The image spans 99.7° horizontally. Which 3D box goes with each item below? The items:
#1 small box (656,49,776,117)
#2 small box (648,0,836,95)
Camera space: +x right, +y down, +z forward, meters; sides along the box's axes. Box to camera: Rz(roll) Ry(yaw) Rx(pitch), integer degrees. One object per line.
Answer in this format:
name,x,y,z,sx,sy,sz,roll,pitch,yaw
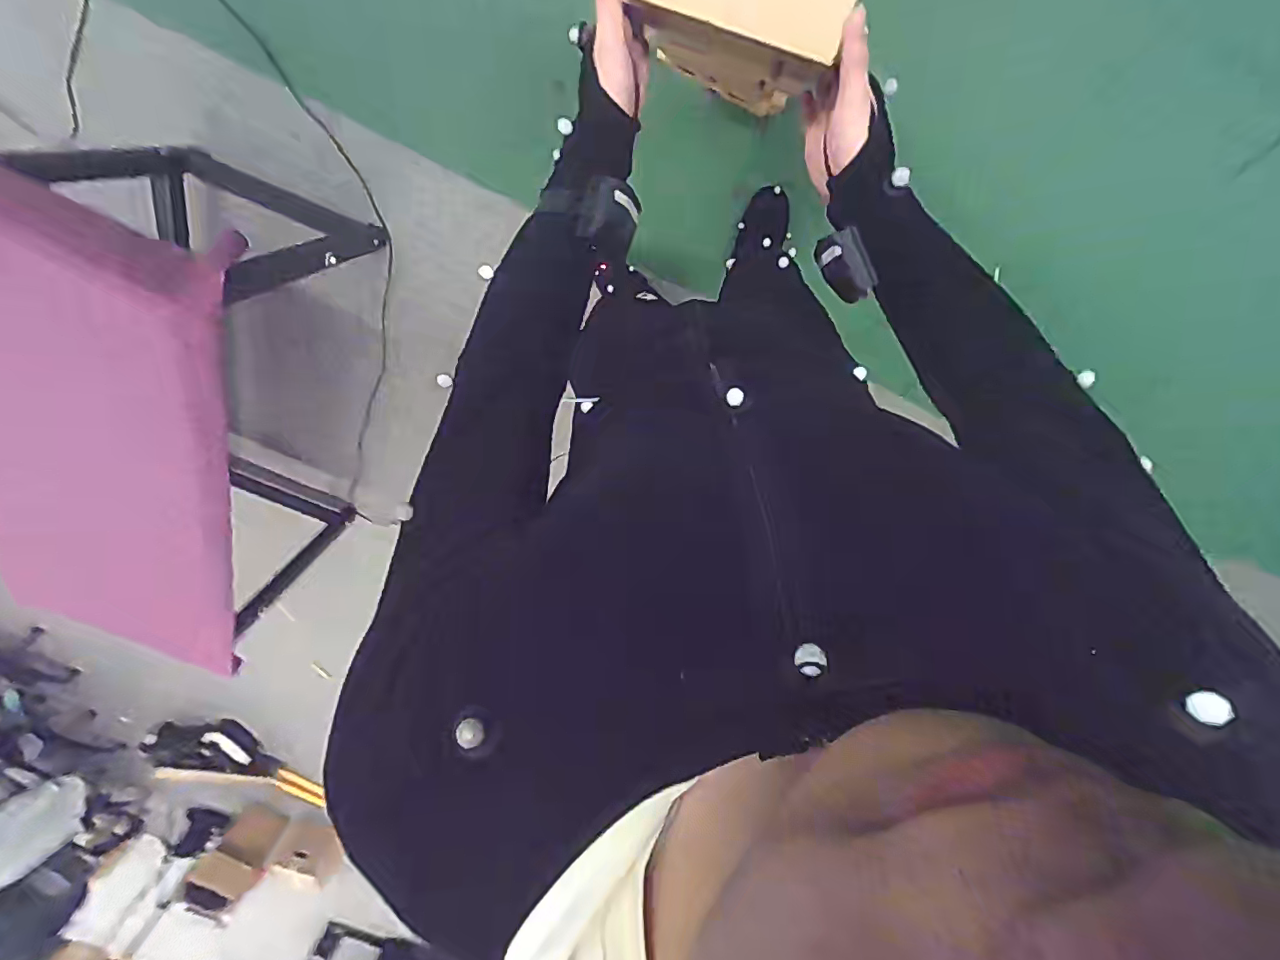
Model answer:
small box,0.141,-0.623,0.732,0.168,0.176,0.179,25,124,-5
small box,0.124,-0.543,0.591,0.179,0.176,0.168,18,123,0
